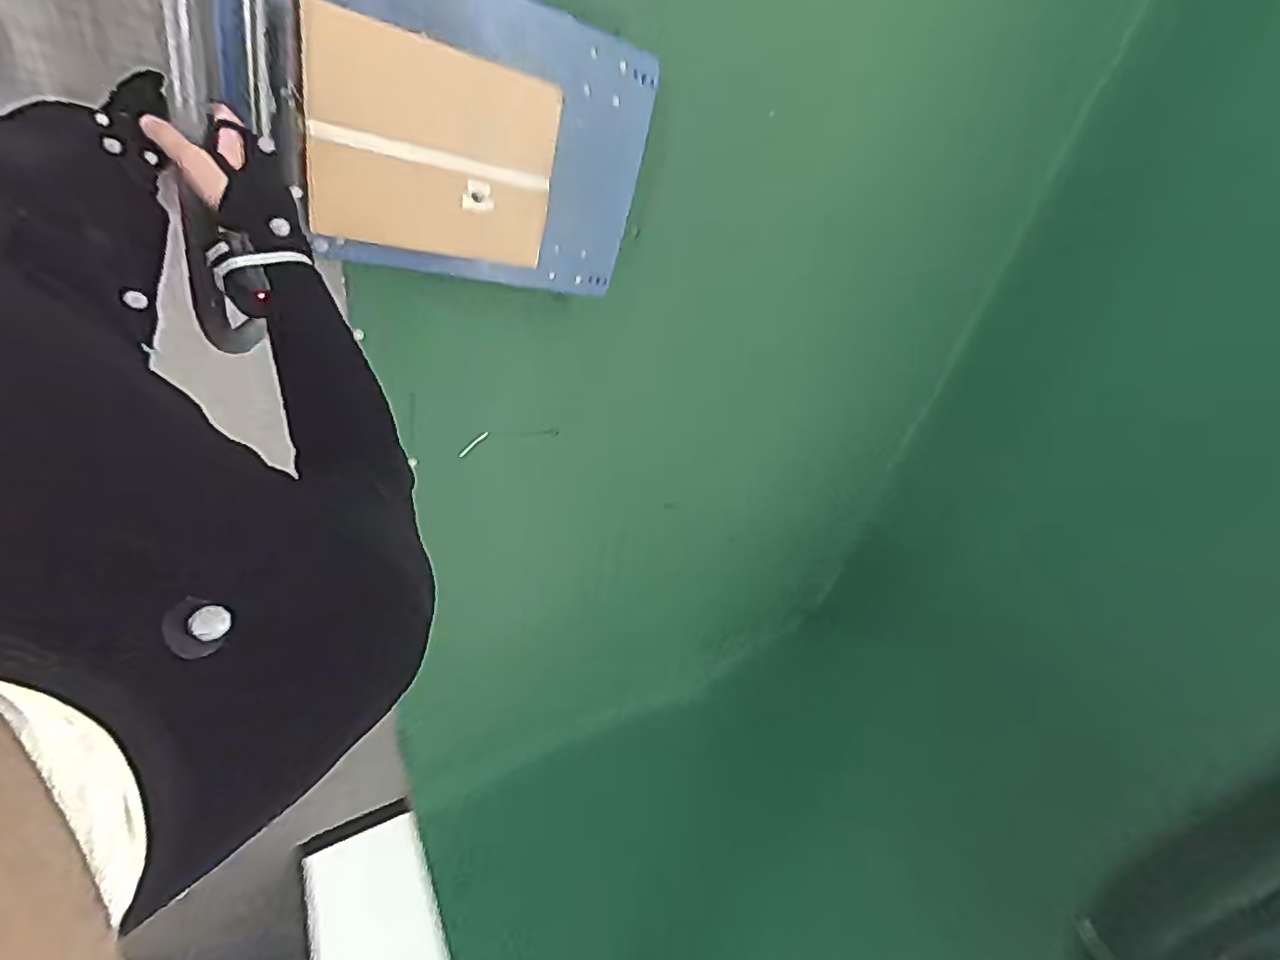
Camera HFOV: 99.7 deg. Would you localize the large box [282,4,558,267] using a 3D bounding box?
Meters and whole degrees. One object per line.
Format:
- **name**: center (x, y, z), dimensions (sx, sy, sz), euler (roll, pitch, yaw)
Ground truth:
- **large box**: center (-0.423, -0.630, 1.029), dimensions (0.408, 0.320, 0.320), euler (-5, 127, -35)
